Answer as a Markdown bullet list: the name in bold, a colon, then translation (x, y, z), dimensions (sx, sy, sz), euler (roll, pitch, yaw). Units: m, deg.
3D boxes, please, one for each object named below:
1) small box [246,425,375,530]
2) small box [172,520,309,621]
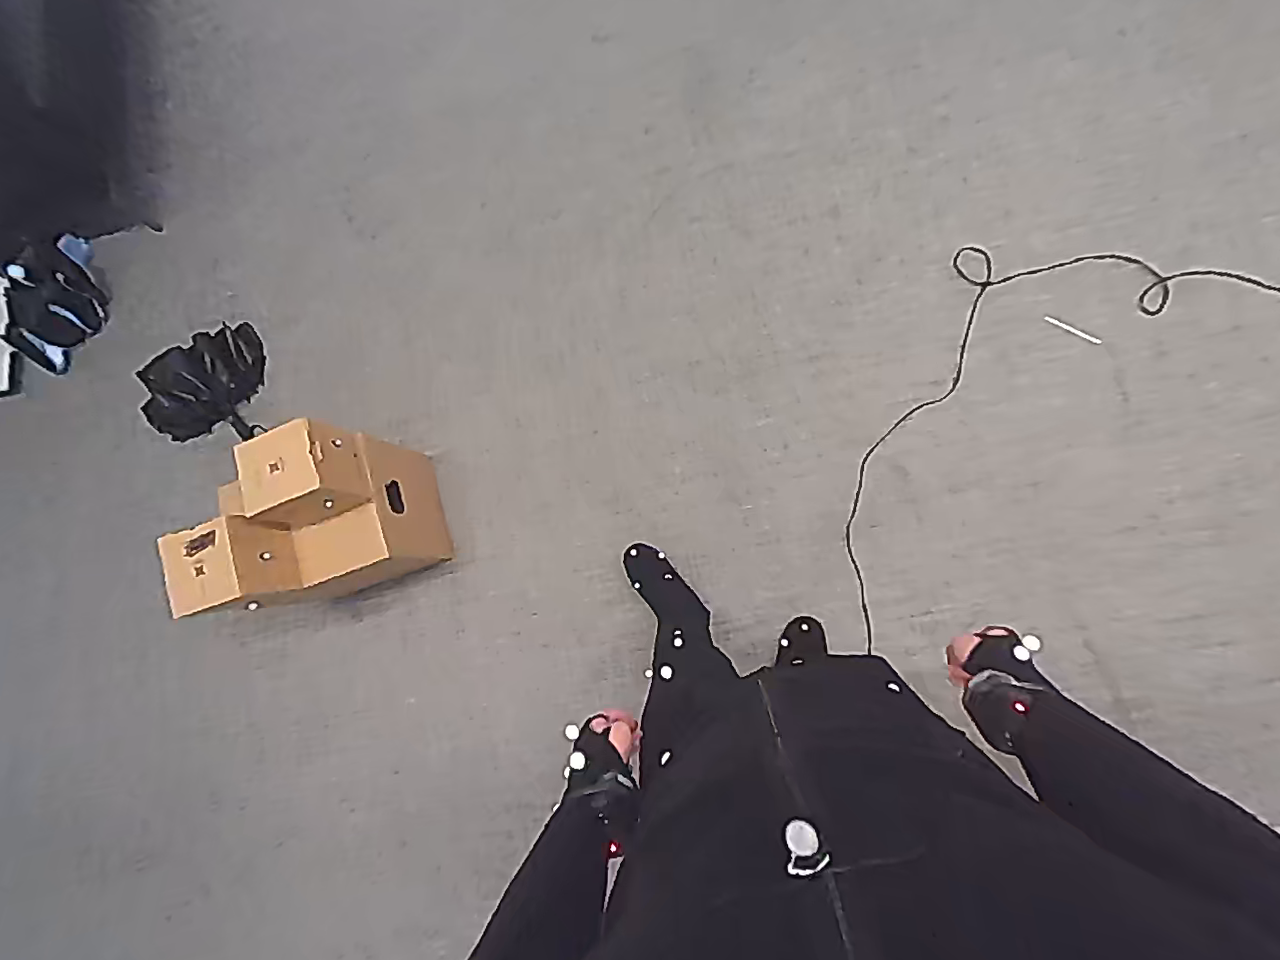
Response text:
- **small box**: translation (-0.722, 0.001, 1.206), dimensions (0.179, 0.176, 0.168), euler (-23, 75, 7)
- **small box**: translation (-0.878, 0.198, 1.201), dimensions (0.168, 0.176, 0.179), euler (-18, 82, 7)
